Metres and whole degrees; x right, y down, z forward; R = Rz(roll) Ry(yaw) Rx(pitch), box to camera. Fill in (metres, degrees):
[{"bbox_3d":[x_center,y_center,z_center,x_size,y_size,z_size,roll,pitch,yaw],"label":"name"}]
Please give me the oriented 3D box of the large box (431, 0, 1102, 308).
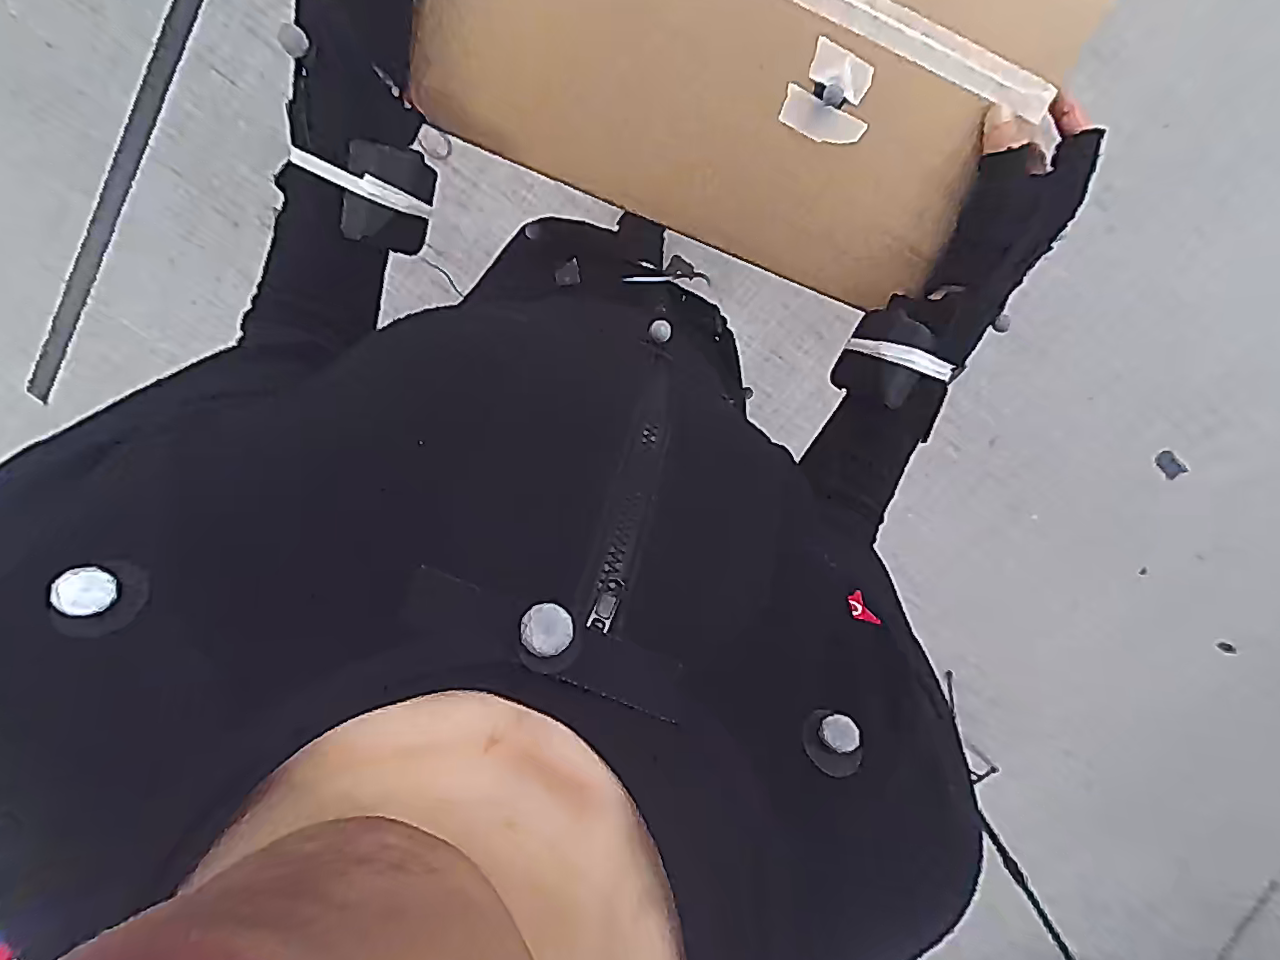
[{"bbox_3d":[0.089,-0.401,0.466,0.408,0.320,0.320,19,122,-10],"label":"large box"}]
